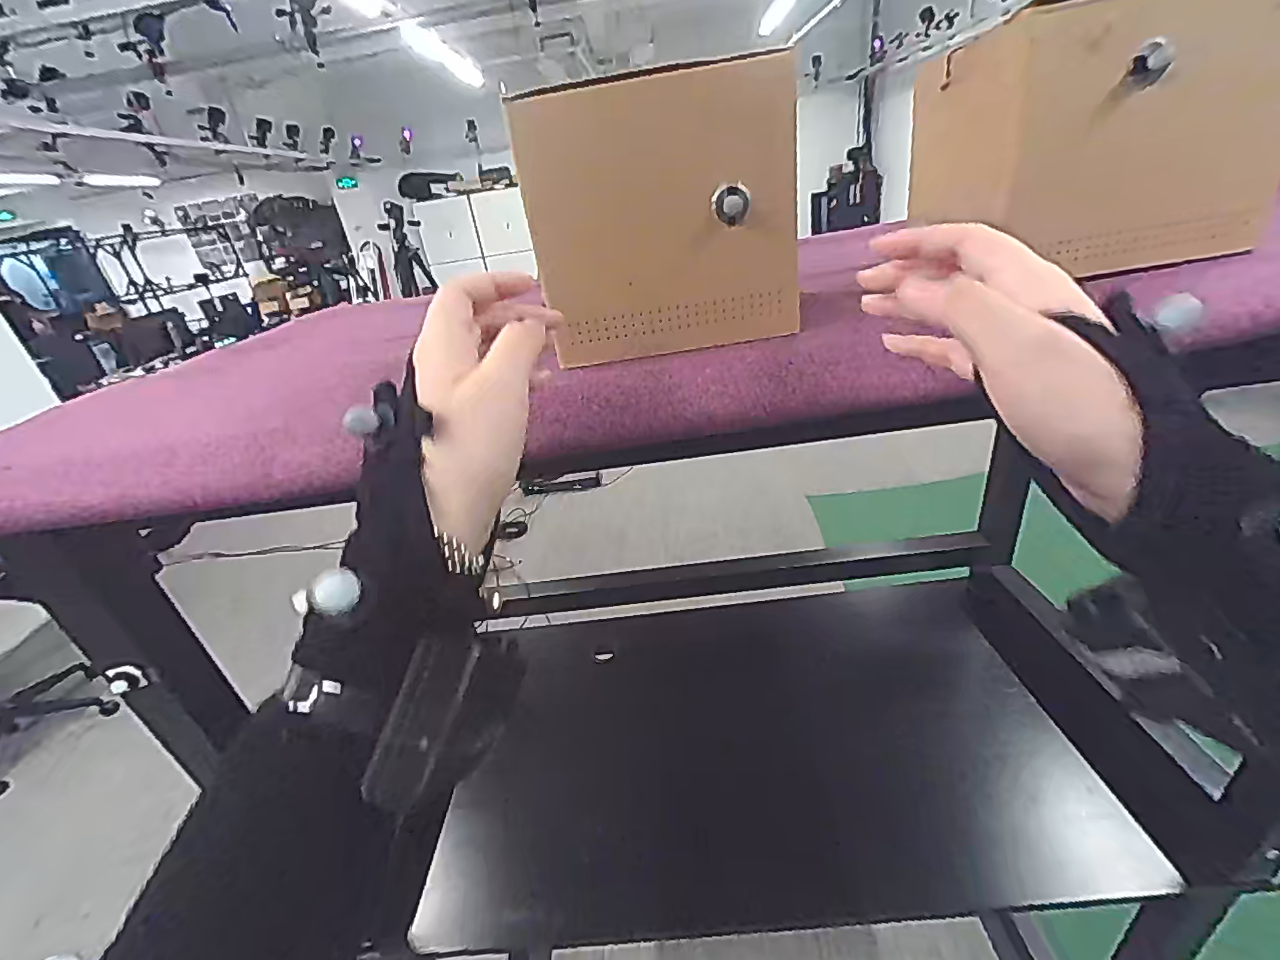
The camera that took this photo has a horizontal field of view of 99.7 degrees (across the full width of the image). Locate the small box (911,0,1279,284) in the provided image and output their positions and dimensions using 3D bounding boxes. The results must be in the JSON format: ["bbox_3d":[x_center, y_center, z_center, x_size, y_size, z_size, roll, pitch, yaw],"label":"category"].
[{"bbox_3d":[0.328,-0.256,0.417,0.179,0.176,0.168,-7,26,5],"label":"small box"}]

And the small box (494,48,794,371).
[{"bbox_3d":[0.011,-0.197,0.415,0.179,0.176,0.168,-9,28,3],"label":"small box"}]
